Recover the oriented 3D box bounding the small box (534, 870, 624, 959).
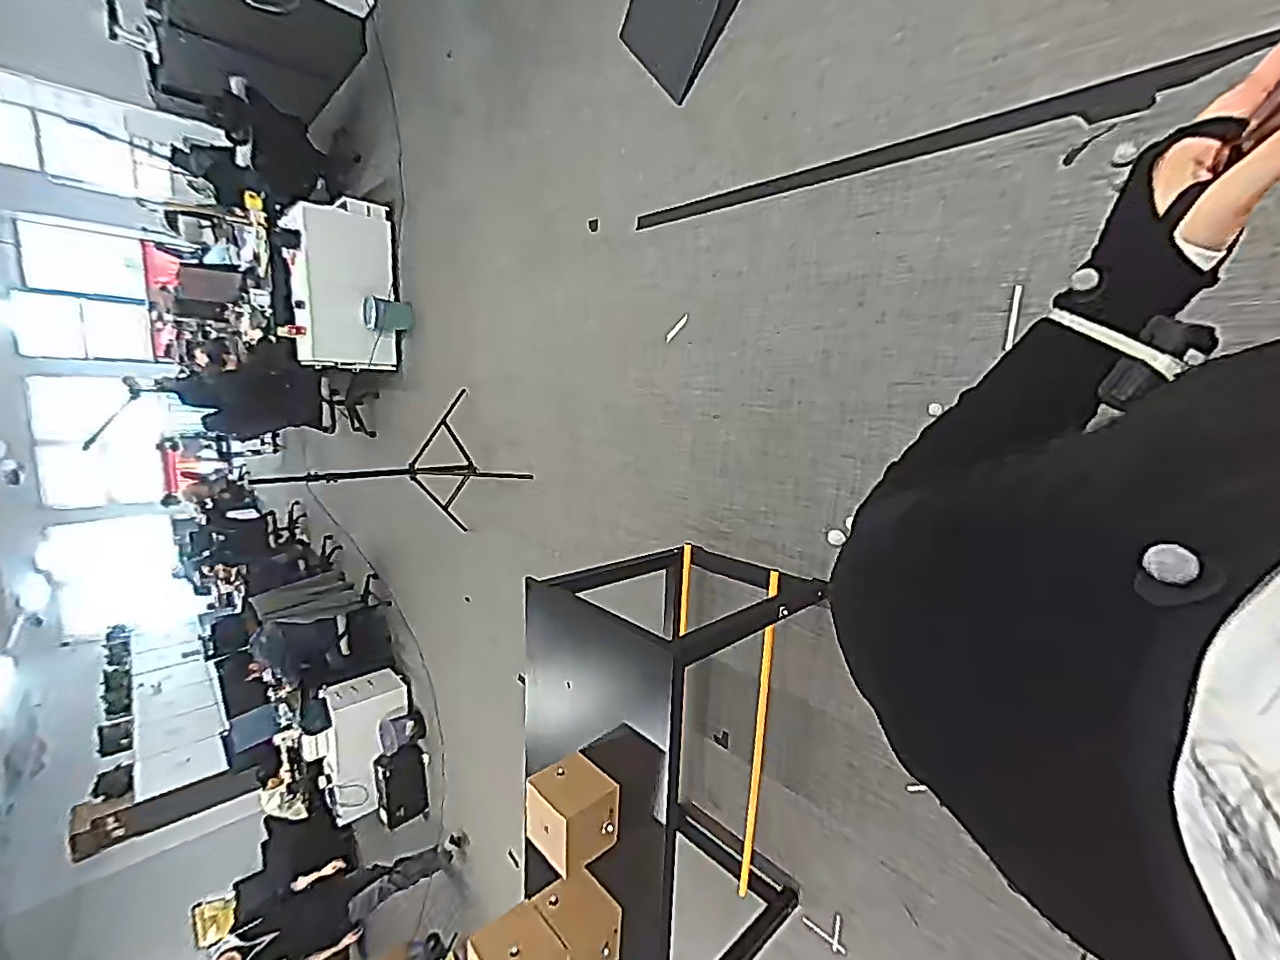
[{"bbox_3d":[-0.162,1.168,1.409,0.179,0.176,0.168,15,106,45],"label":"small box"}]

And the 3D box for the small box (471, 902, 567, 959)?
[{"bbox_3d":[-0.289,1.184,1.306,0.179,0.176,0.168,10,103,46],"label":"small box"}]

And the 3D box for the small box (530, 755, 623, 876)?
[{"bbox_3d":[-0.163,0.833,1.370,0.179,0.176,0.168,11,105,45],"label":"small box"}]
